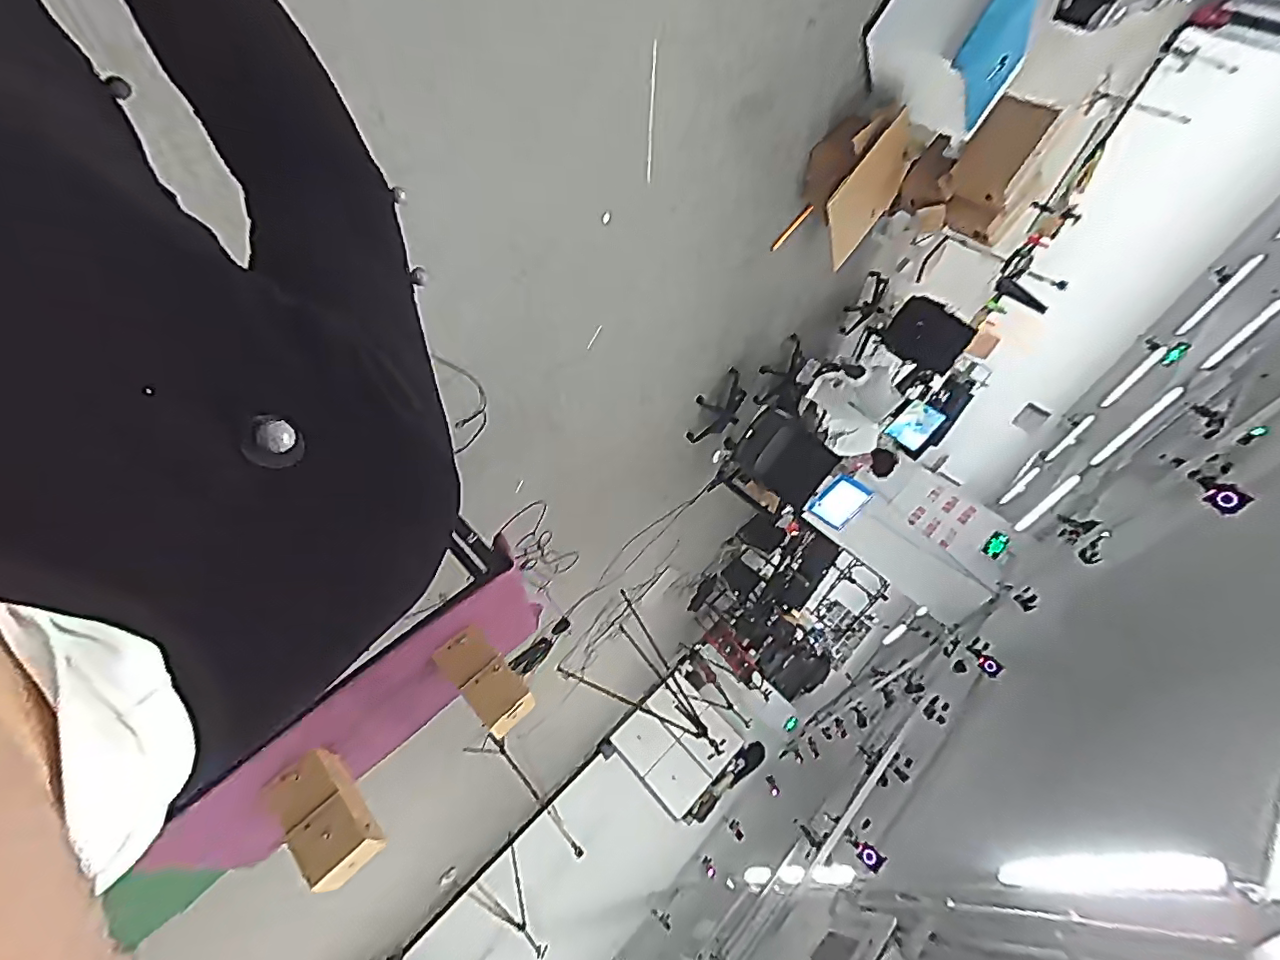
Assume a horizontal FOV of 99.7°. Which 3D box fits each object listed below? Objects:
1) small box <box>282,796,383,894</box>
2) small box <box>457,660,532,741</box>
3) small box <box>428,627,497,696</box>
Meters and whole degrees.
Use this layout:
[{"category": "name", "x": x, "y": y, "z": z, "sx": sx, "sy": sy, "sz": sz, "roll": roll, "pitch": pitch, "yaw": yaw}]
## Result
[{"category": "small box", "x": -0.882, "y": 1.044, "z": 1.553, "sx": 0.168, "sy": 0.176, "sz": 0.179, "roll": -38, "pitch": 154, "yaw": -26}, {"category": "small box", "x": -0.484, "y": 0.729, "z": 1.799, "sx": 0.168, "sy": 0.176, "sz": 0.179, "roll": -39, "pitch": 156, "yaw": -26}, {"category": "small box", "x": -0.601, "y": 0.639, "z": 1.869, "sx": 0.168, "sy": 0.176, "sz": 0.179, "roll": -39, "pitch": 154, "yaw": -26}]
